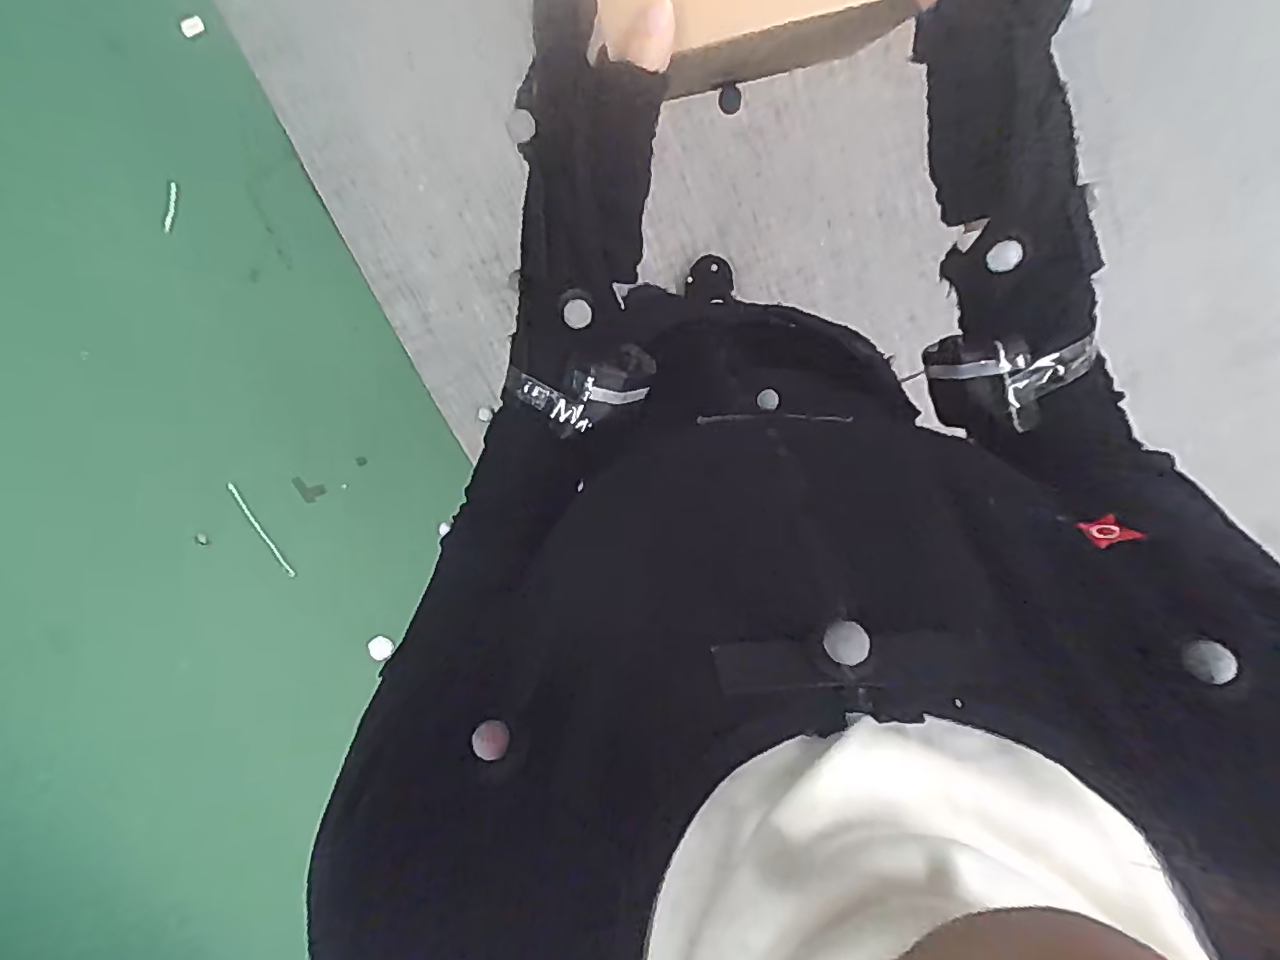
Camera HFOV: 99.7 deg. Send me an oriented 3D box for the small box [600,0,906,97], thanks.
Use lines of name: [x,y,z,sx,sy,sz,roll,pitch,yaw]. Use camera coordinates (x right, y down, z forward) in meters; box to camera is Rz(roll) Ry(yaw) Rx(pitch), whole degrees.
small box: [0.049,-0.328,0.276,0.168,0.176,0.179,-10,118,7]
